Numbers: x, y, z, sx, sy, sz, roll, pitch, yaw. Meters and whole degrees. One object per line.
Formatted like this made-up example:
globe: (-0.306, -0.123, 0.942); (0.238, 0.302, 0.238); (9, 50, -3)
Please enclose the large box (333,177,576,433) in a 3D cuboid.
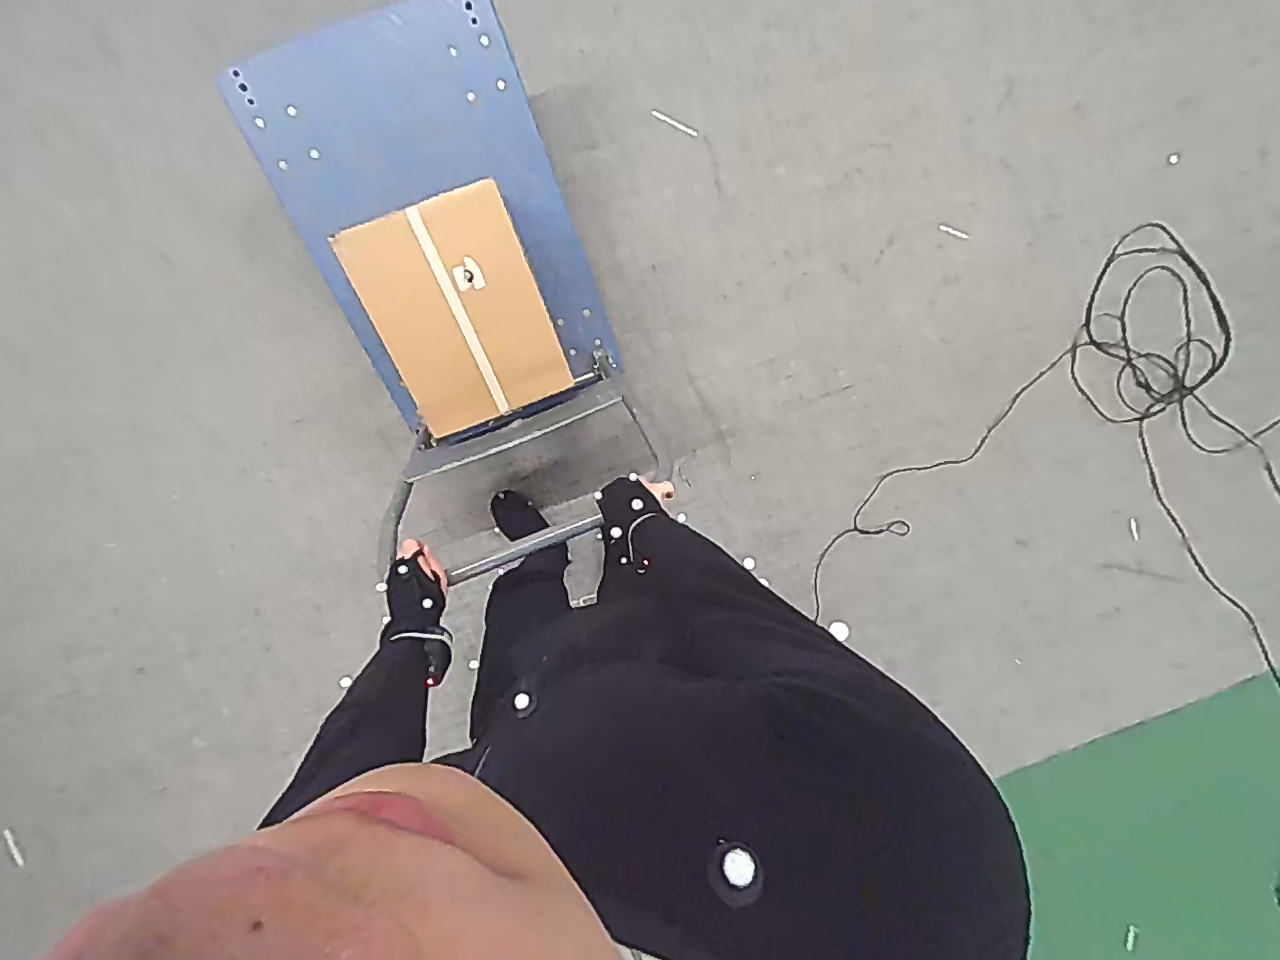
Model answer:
large box: (-0.360, -0.371, 1.171); (0.320, 0.320, 0.408); (-22, 114, -2)
